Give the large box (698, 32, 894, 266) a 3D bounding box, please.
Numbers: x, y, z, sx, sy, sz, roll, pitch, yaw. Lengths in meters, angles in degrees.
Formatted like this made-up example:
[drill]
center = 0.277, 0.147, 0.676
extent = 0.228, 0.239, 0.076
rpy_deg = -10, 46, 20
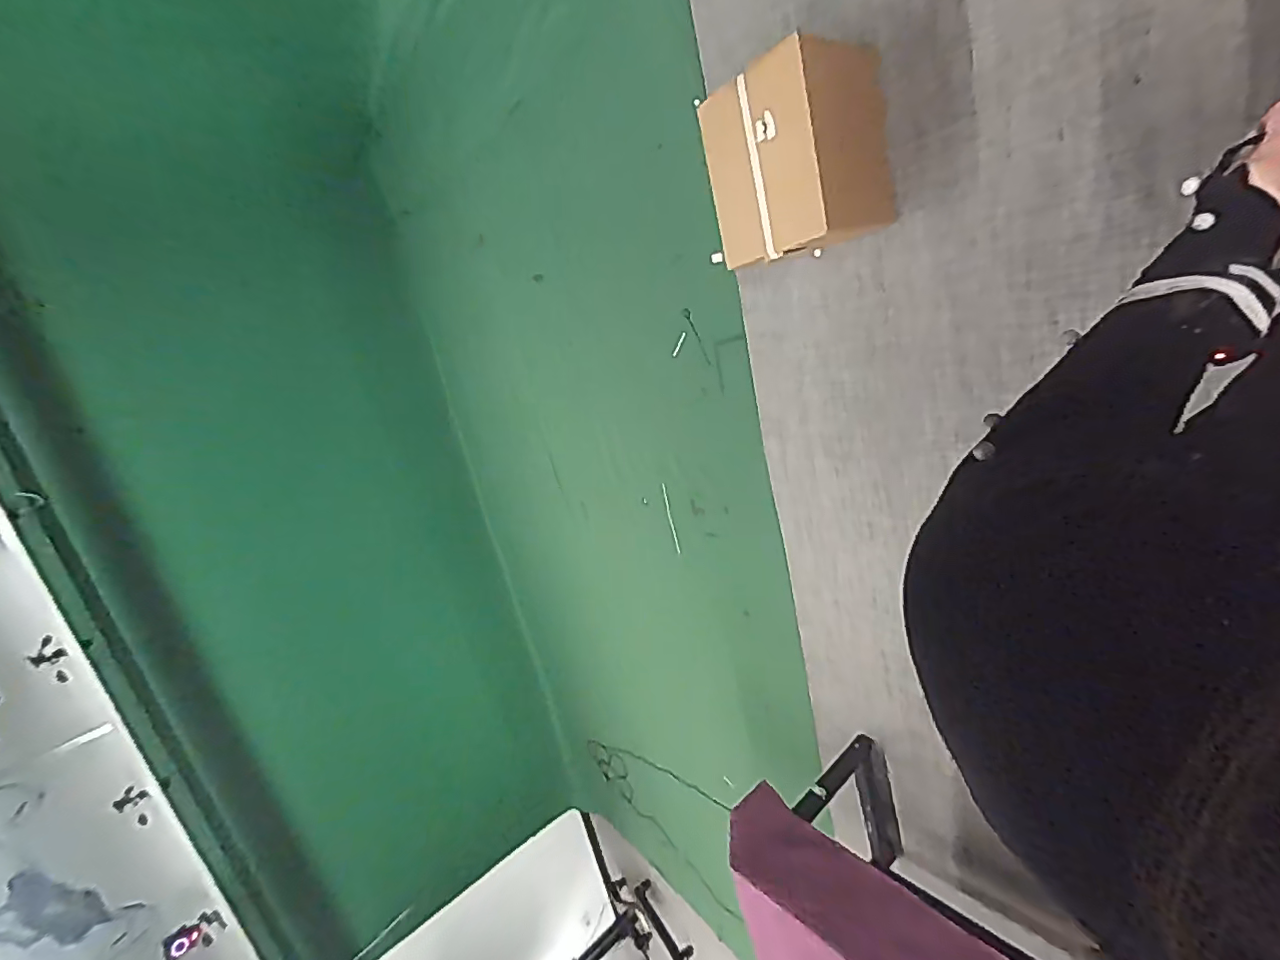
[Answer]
[large box]
center = 0.396, -0.797, 1.362
extent = 0.320, 0.320, 0.408
rpy_deg = 5, 113, 53
